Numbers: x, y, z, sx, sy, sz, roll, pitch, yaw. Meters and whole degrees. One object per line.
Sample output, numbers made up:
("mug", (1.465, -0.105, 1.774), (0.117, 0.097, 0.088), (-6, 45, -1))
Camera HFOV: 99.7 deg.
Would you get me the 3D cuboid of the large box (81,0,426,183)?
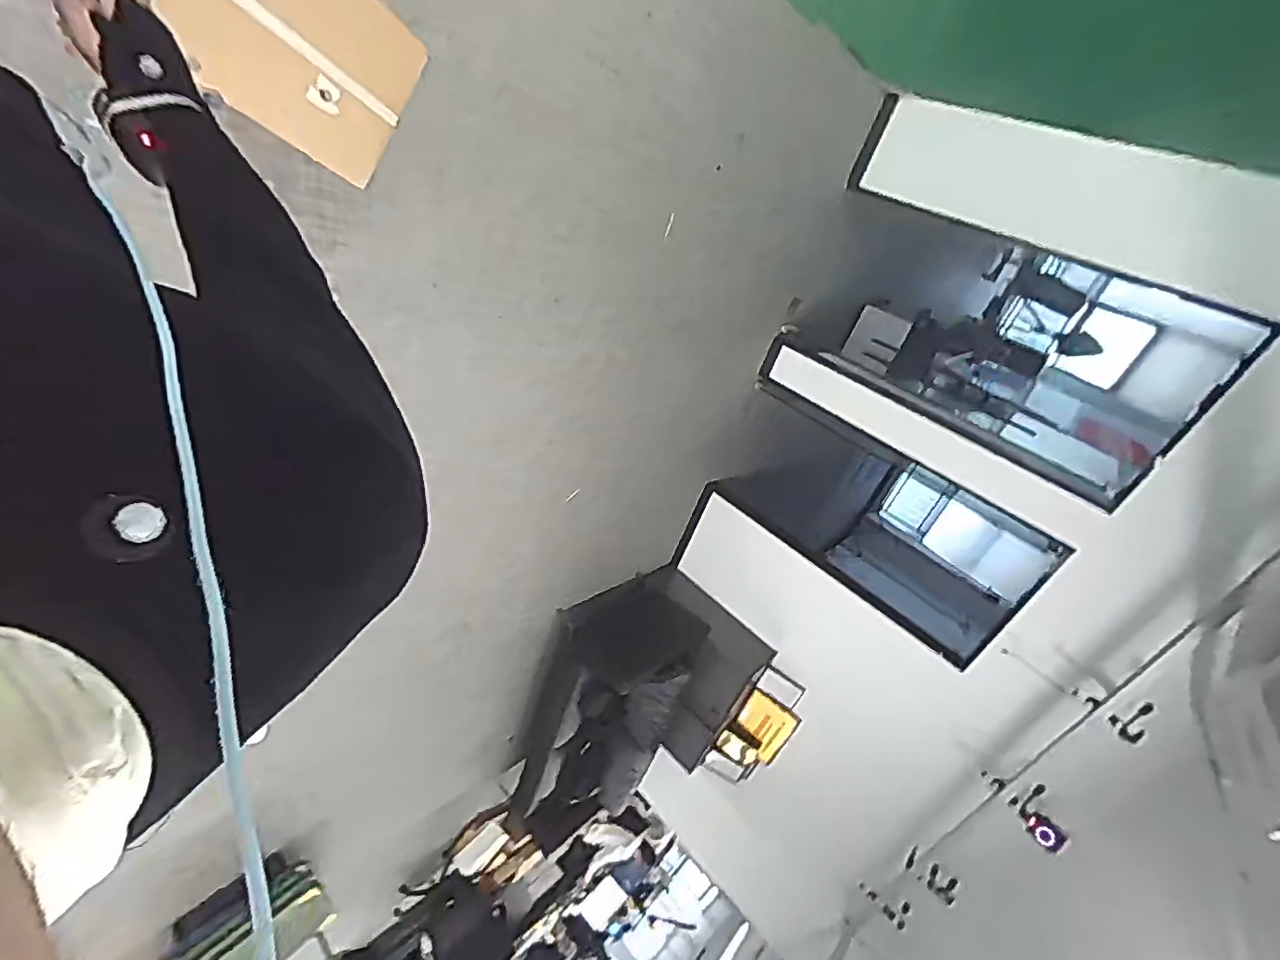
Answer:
("large box", (-0.713, -0.860, 1.025), (0.320, 0.320, 0.408), (-57, 152, 10))
